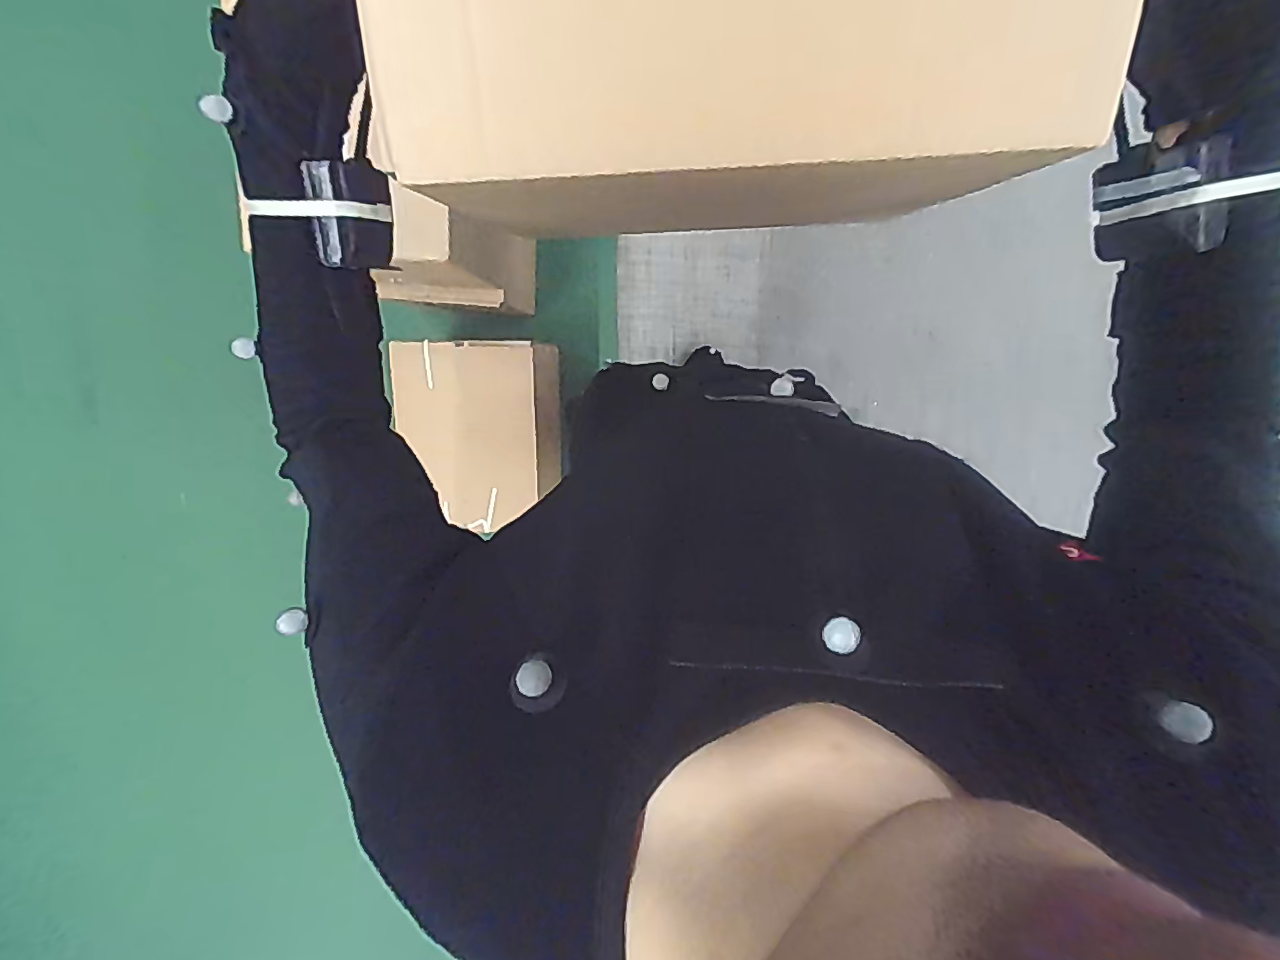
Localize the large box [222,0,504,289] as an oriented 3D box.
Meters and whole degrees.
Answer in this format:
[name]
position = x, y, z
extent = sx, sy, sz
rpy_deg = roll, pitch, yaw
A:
[large box]
position = -0.425, -0.556, 0.912
extent = 0.320, 0.320, 0.408
rpy_deg = 3, 101, 0
